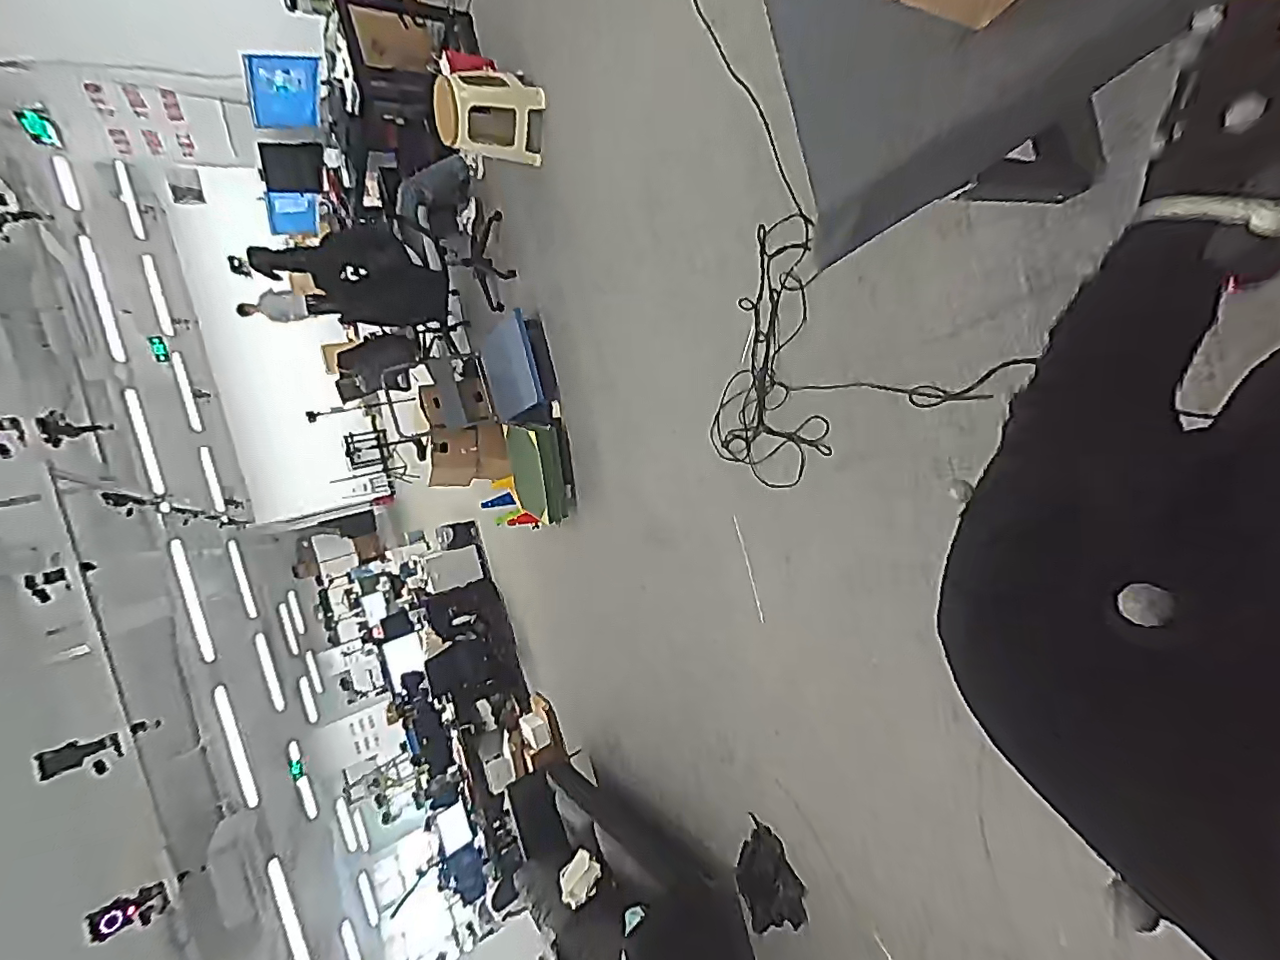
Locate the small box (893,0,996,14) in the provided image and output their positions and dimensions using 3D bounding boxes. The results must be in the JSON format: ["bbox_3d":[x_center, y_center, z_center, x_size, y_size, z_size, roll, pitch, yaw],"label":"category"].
[{"bbox_3d":[0.299,-0.548,0.459,0.168,0.176,0.179,-19,88,58],"label":"small box"}]
